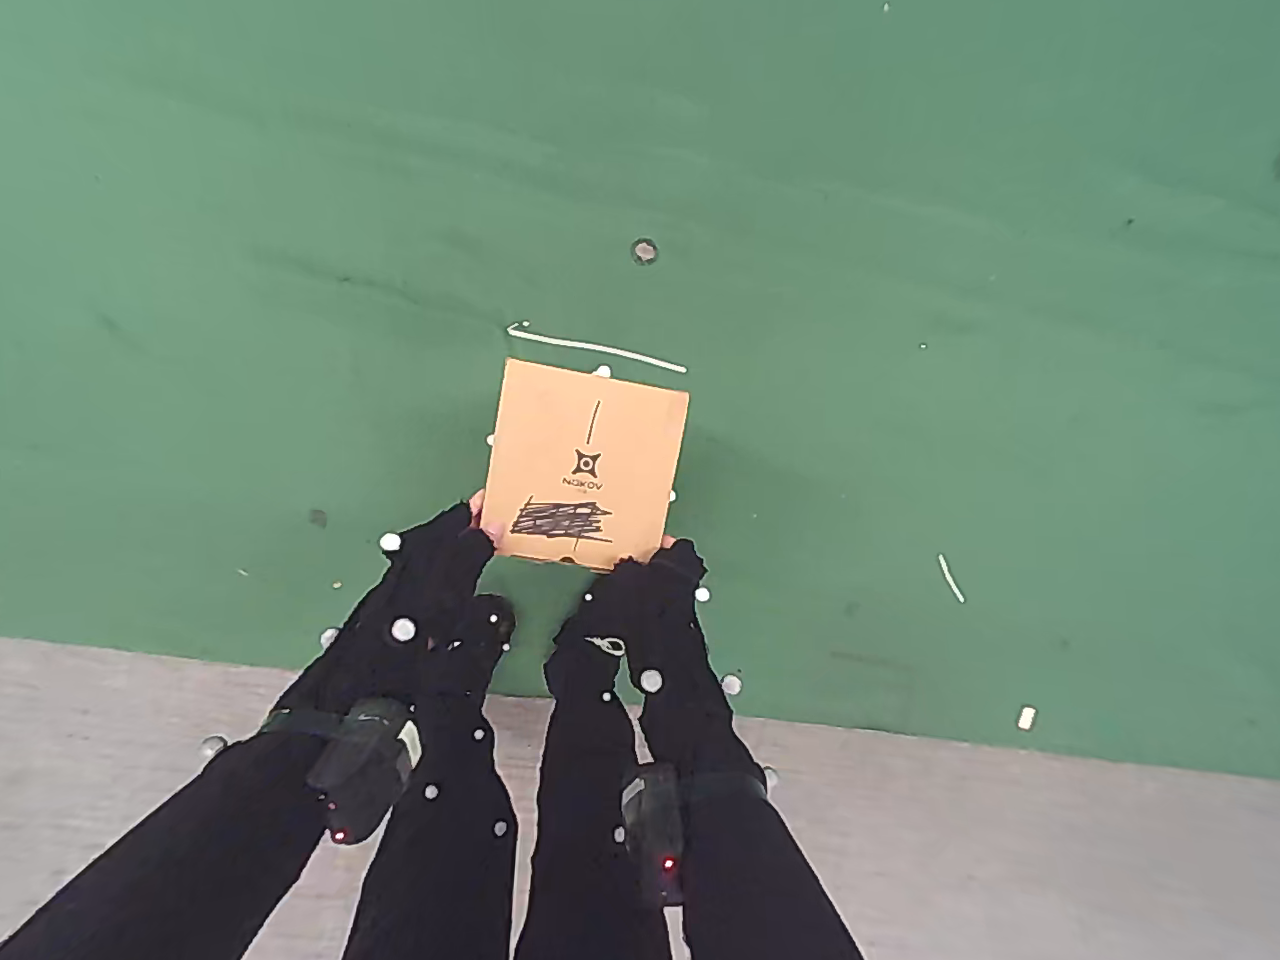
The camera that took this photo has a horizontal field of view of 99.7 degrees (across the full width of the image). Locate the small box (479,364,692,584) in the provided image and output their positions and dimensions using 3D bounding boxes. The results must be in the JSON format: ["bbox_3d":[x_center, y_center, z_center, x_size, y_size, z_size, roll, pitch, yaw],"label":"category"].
[{"bbox_3d":[-0.056,-0.011,0.560,0.168,0.176,0.179,10,96,-7],"label":"small box"}]
